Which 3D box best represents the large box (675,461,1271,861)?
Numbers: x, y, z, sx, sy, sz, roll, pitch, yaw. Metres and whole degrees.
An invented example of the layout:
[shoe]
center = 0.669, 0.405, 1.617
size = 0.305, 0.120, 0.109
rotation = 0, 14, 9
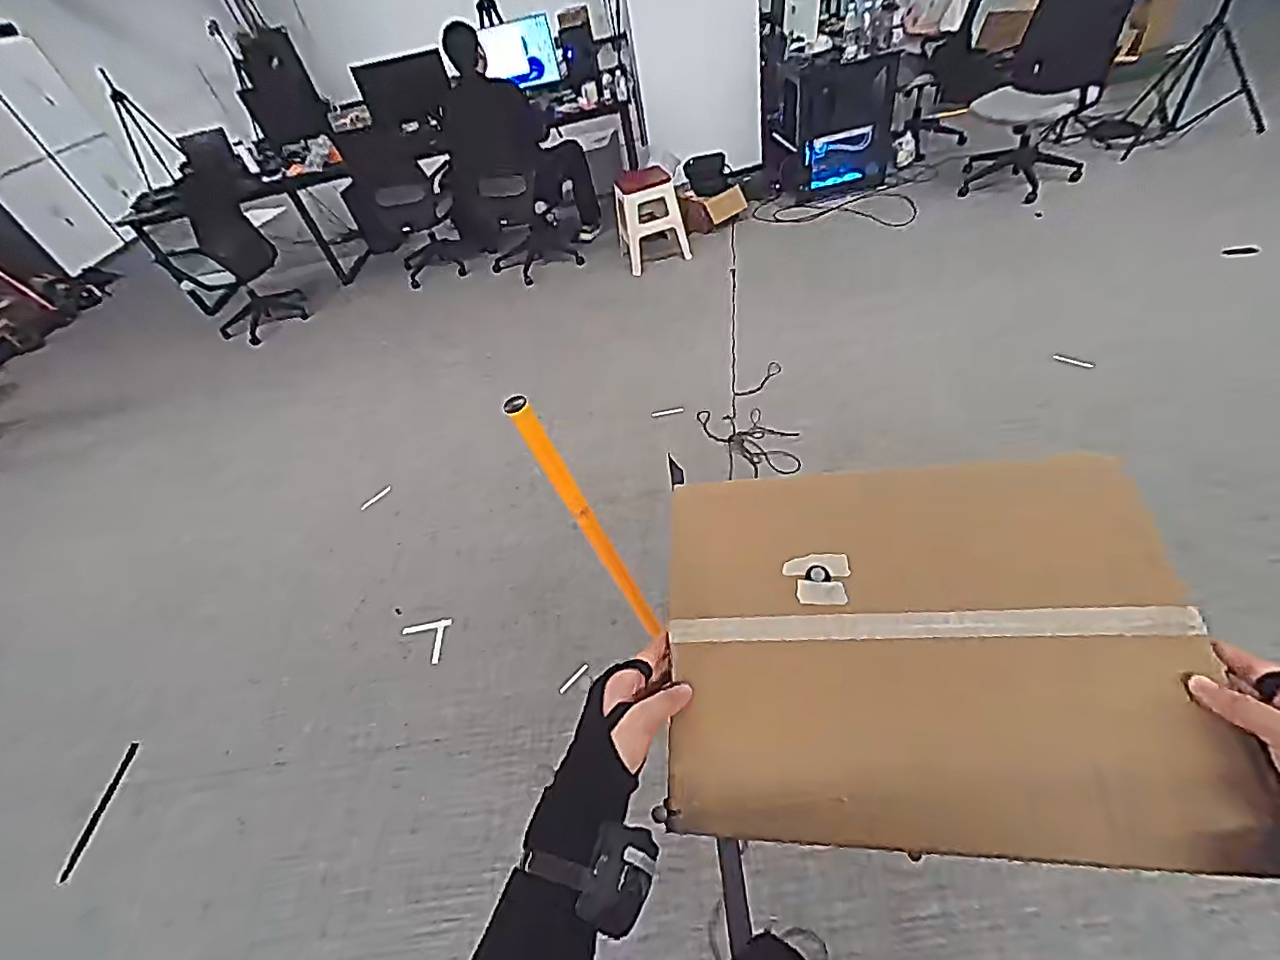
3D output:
[large box]
center = 0.266, 0.208, 0.594
size = 0.408, 0.320, 0.320
rotation = -6, 57, 14
